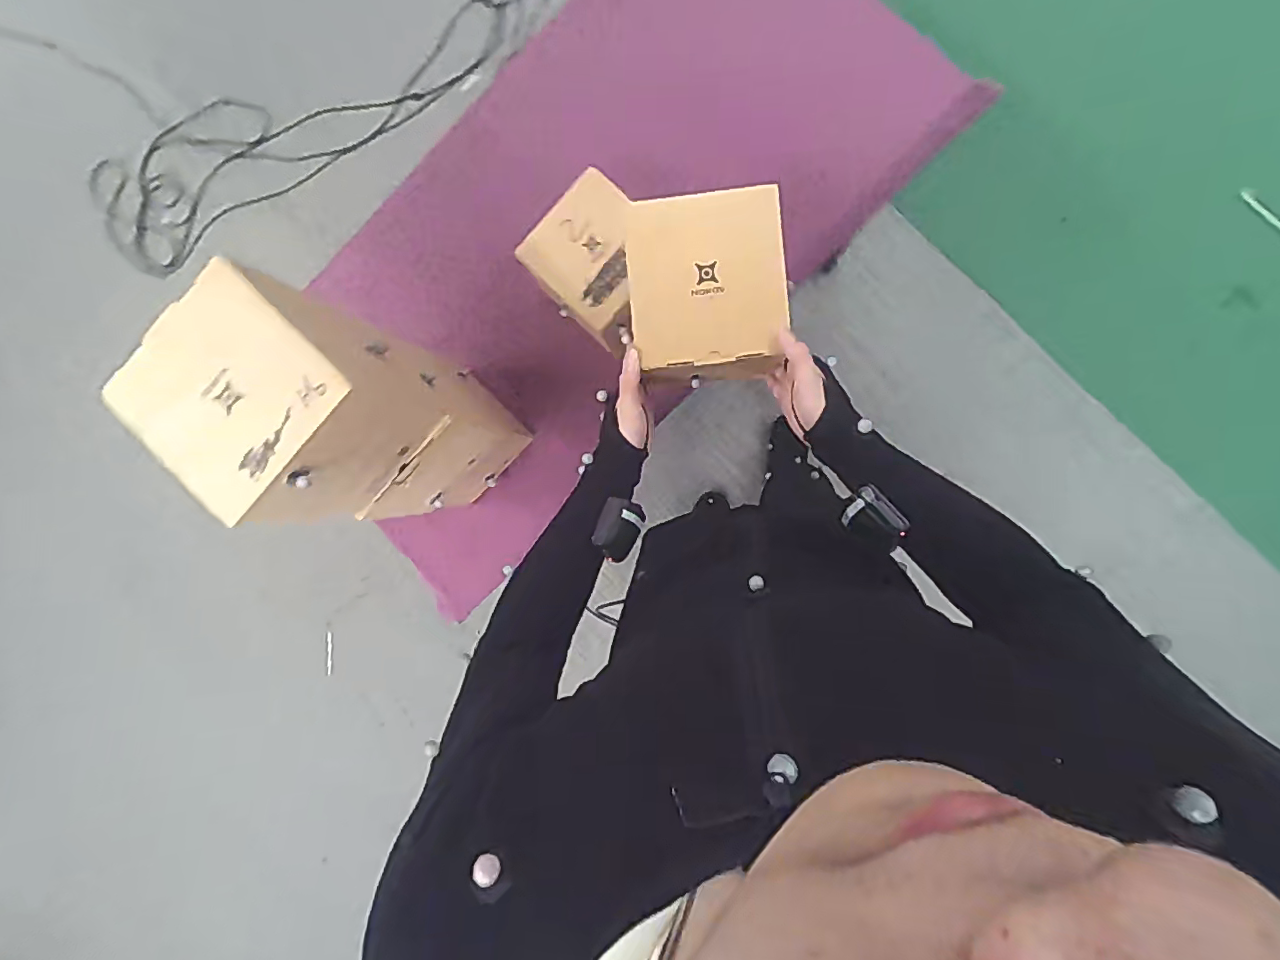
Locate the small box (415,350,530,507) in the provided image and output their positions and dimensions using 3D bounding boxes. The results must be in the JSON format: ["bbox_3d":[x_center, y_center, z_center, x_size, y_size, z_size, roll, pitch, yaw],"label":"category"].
[{"bbox_3d":[-0.308,-0.073,0.863,0.179,0.176,0.168,44,95,4],"label":"small box"}]

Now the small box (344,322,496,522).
[{"bbox_3d":[-0.320,-0.068,0.699,0.179,0.176,0.168,44,95,6],"label":"small box"}]

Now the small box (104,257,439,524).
[{"bbox_3d":[-0.344,-0.074,0.538,0.179,0.176,0.168,43,95,6],"label":"small box"}]
